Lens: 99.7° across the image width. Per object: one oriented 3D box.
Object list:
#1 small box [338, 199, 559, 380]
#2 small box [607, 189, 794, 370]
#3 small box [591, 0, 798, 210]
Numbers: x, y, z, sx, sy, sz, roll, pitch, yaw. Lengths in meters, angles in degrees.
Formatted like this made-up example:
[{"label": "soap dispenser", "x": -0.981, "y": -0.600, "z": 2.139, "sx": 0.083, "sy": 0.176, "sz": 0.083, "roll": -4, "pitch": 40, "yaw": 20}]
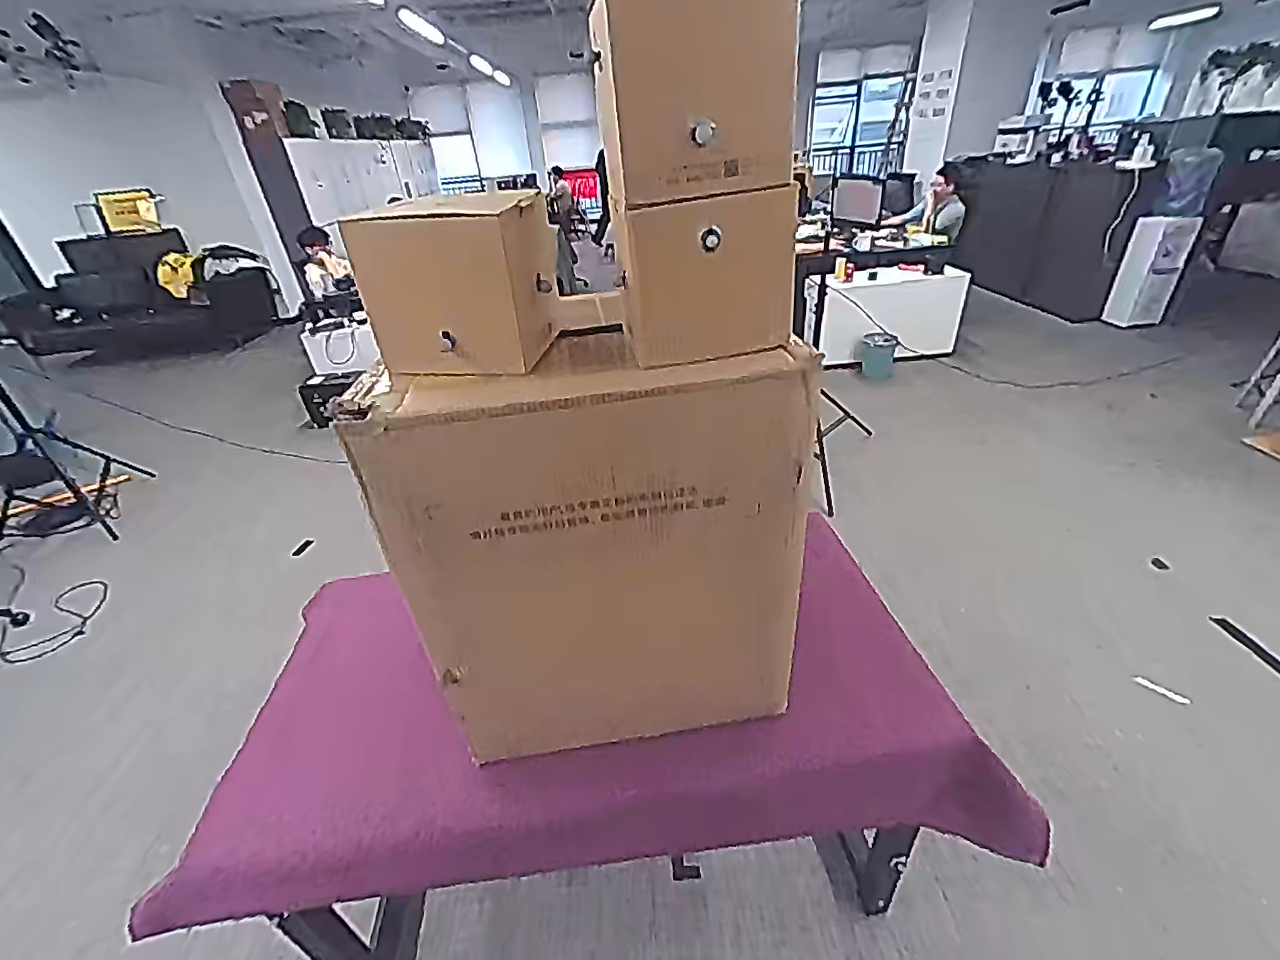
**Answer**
[{"label": "small box", "x": -0.204, "y": -0.225, "z": 0.641, "sx": 0.179, "sy": 0.176, "sz": 0.168, "roll": 2, "pitch": 34, "yaw": 8}, {"label": "small box", "x": 0.065, "y": -0.238, "z": 0.630, "sx": 0.179, "sy": 0.176, "sz": 0.168, "roll": -9, "pitch": 33, "yaw": -5}, {"label": "small box", "x": 0.046, "y": -0.377, "z": 0.545, "sx": 0.168, "sy": 0.176, "sz": 0.179, "roll": -10, "pitch": 33, "yaw": -3}]
